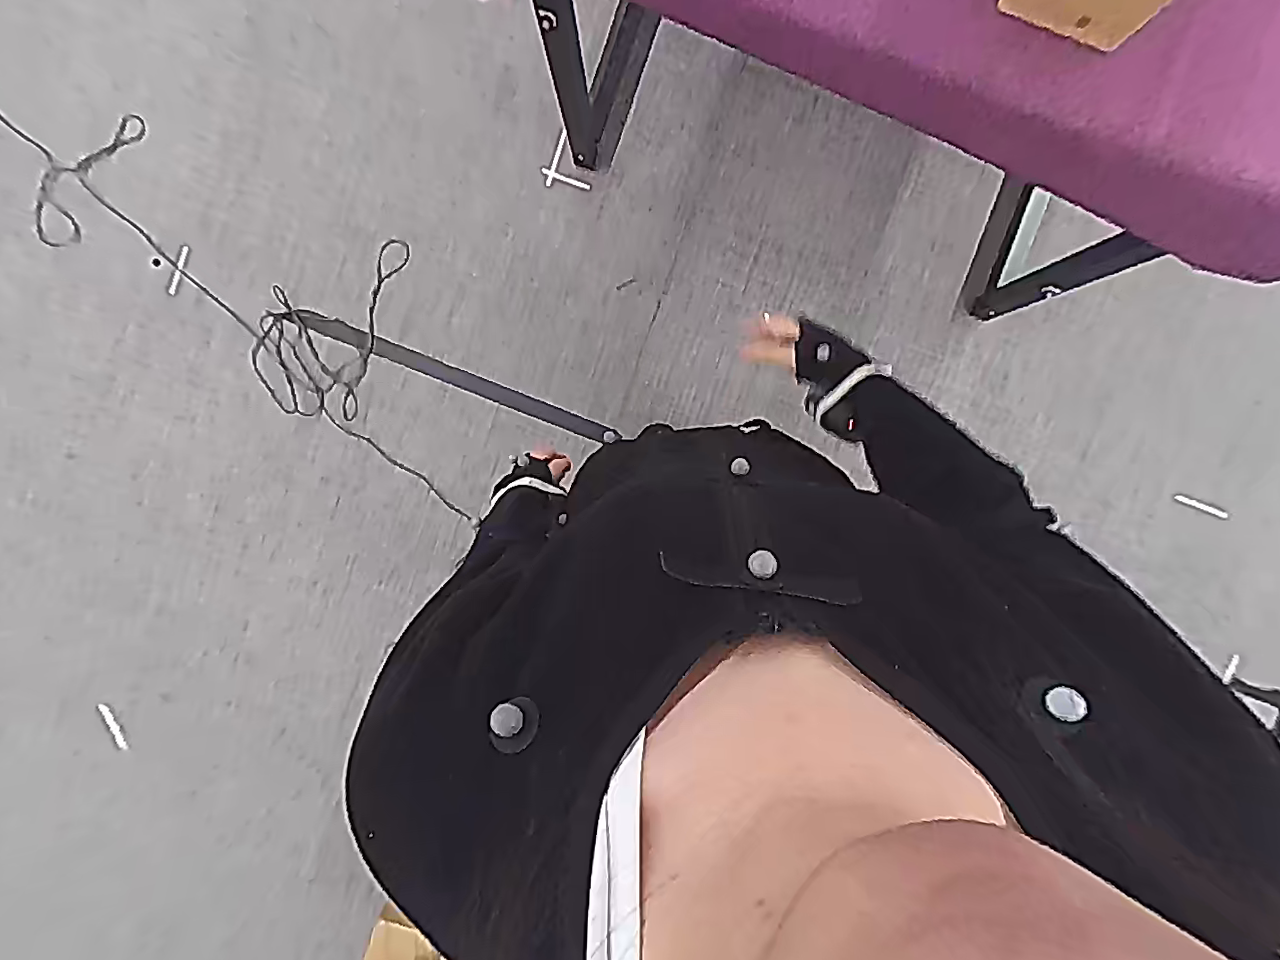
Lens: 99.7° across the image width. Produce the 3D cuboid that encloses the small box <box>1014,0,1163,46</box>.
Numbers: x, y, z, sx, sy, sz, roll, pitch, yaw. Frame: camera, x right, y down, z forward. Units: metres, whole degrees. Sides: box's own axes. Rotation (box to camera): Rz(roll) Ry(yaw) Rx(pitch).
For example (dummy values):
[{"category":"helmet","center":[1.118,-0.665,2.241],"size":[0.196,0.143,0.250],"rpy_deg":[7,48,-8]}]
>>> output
[{"category":"small box","center":[0.582,-0.675,0.638],"size":[0.168,0.176,0.179],"rpy_deg":[21,93,-1]}]
